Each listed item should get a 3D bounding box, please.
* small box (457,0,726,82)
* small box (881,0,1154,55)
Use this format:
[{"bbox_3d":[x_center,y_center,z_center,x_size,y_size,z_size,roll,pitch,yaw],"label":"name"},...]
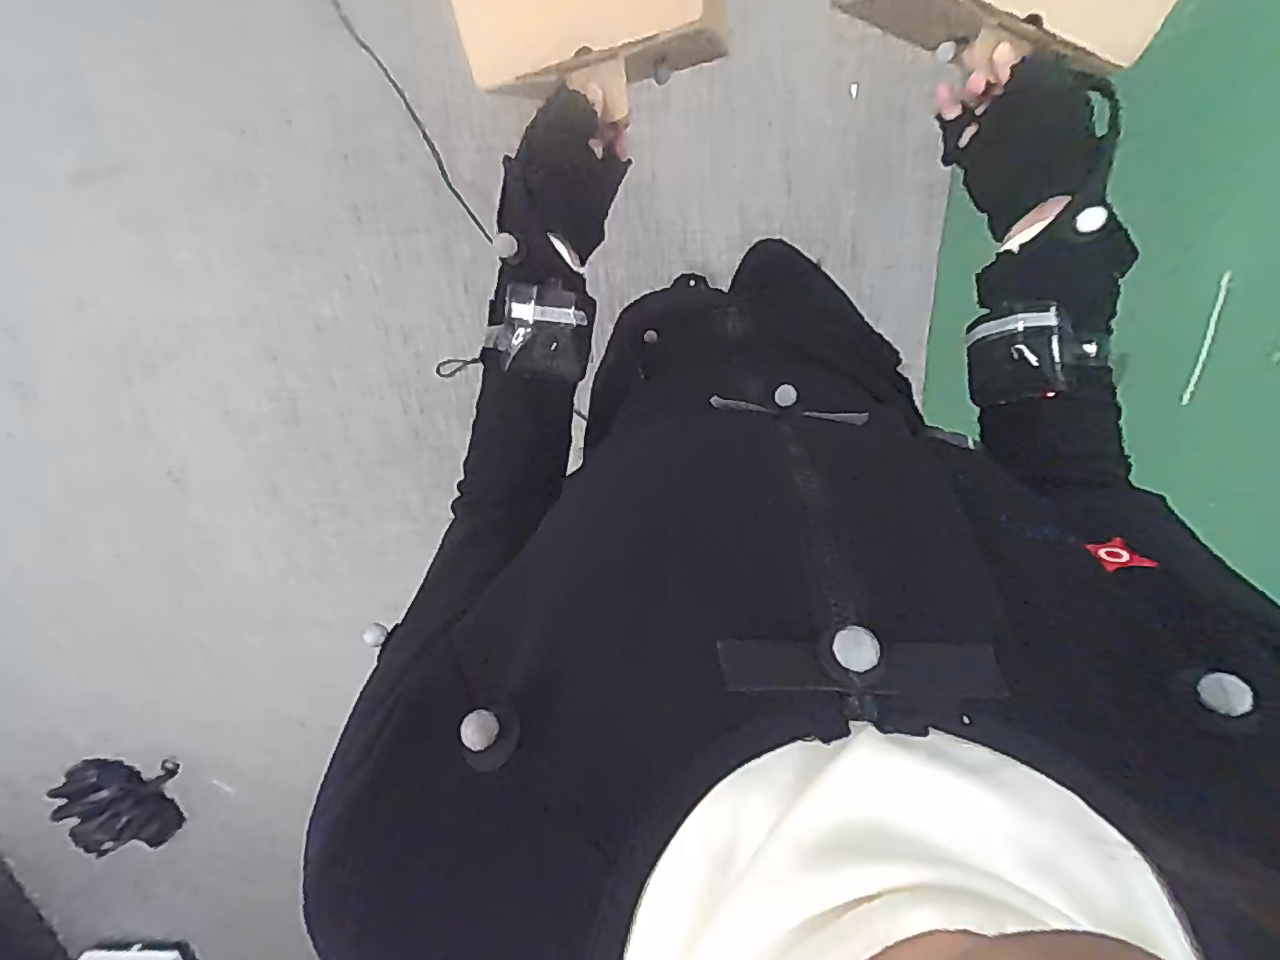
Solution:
[{"bbox_3d":[-0.035,-0.405,0.381,0.168,0.176,0.179,-4,120,16],"label":"small box"},{"bbox_3d":[0.268,-0.421,0.364,0.168,0.176,0.179,10,127,-13],"label":"small box"}]
